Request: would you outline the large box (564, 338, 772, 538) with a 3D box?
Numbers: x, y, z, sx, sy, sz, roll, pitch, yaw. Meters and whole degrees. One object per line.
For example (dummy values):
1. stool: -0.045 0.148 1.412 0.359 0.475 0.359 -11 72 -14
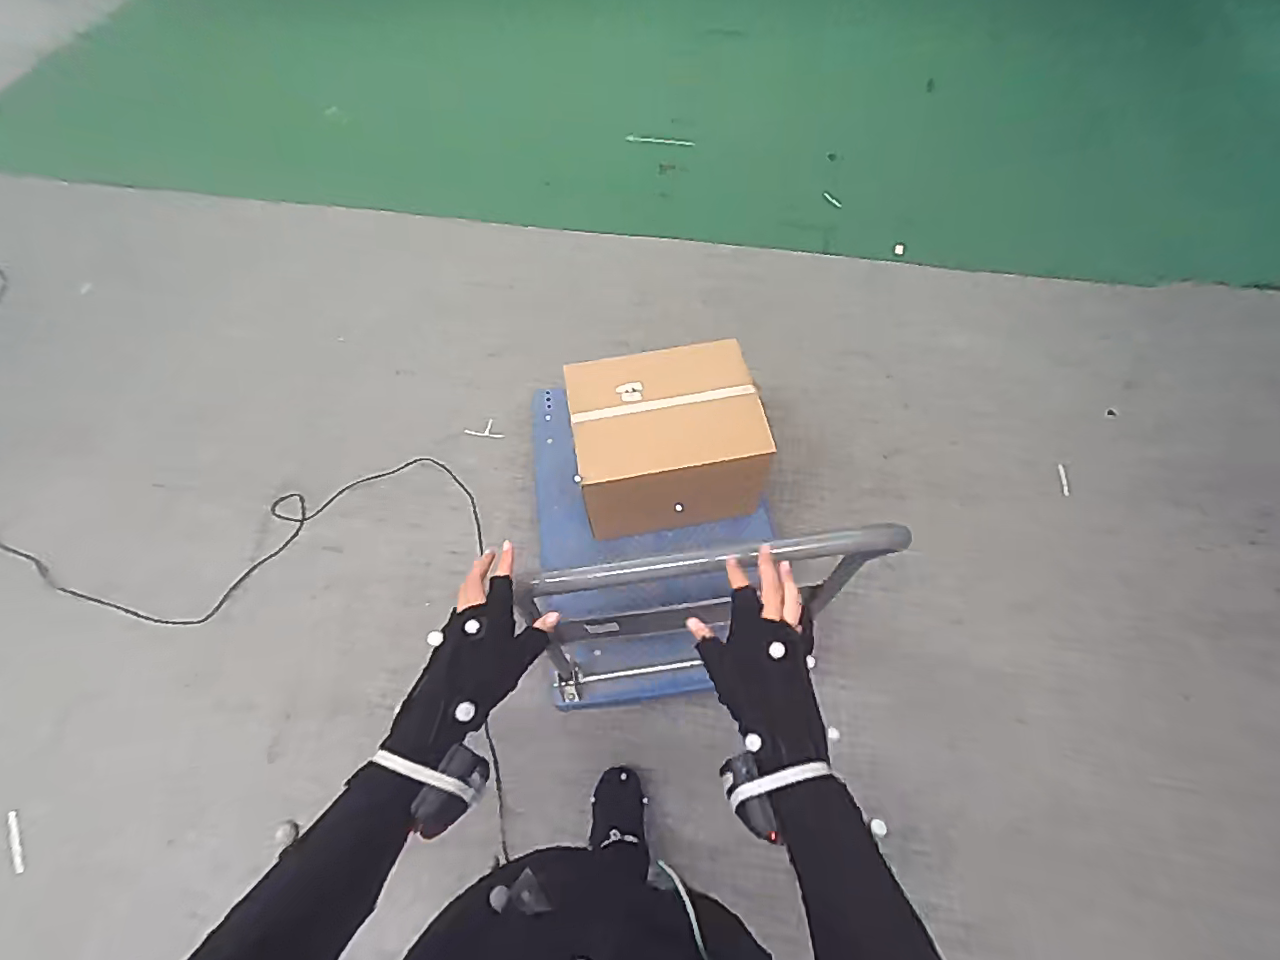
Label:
1. large box: 0.057 -0.088 1.293 0.408 0.320 0.320 -11 61 -3
